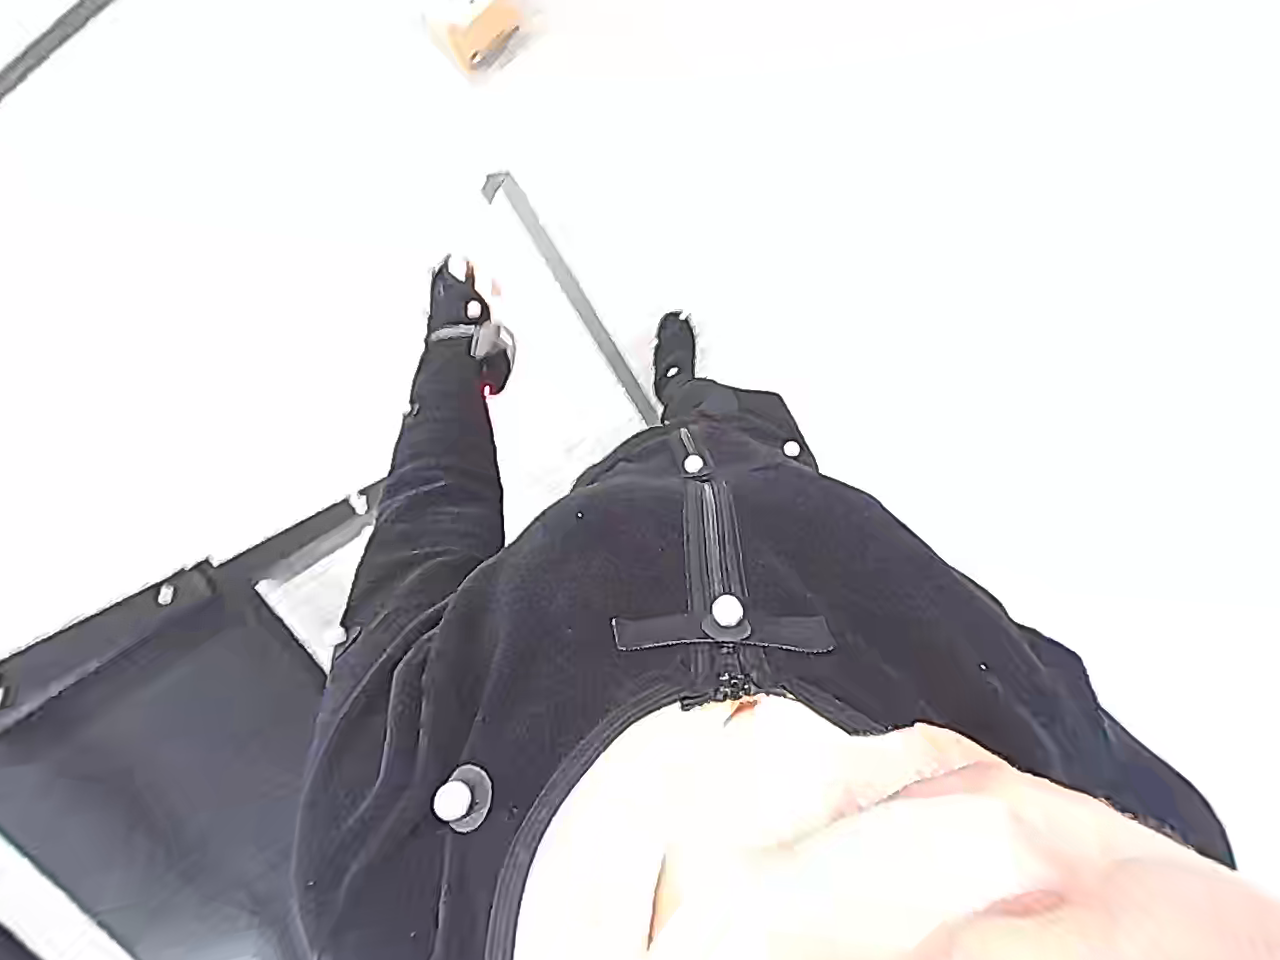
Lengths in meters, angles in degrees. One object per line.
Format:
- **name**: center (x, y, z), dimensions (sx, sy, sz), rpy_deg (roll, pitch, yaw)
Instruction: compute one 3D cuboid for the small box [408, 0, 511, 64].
- **small box**: center (-0.401, -1.039, 1.153), dimensions (0.168, 0.176, 0.179), rpy_deg (-37, 100, 7)
